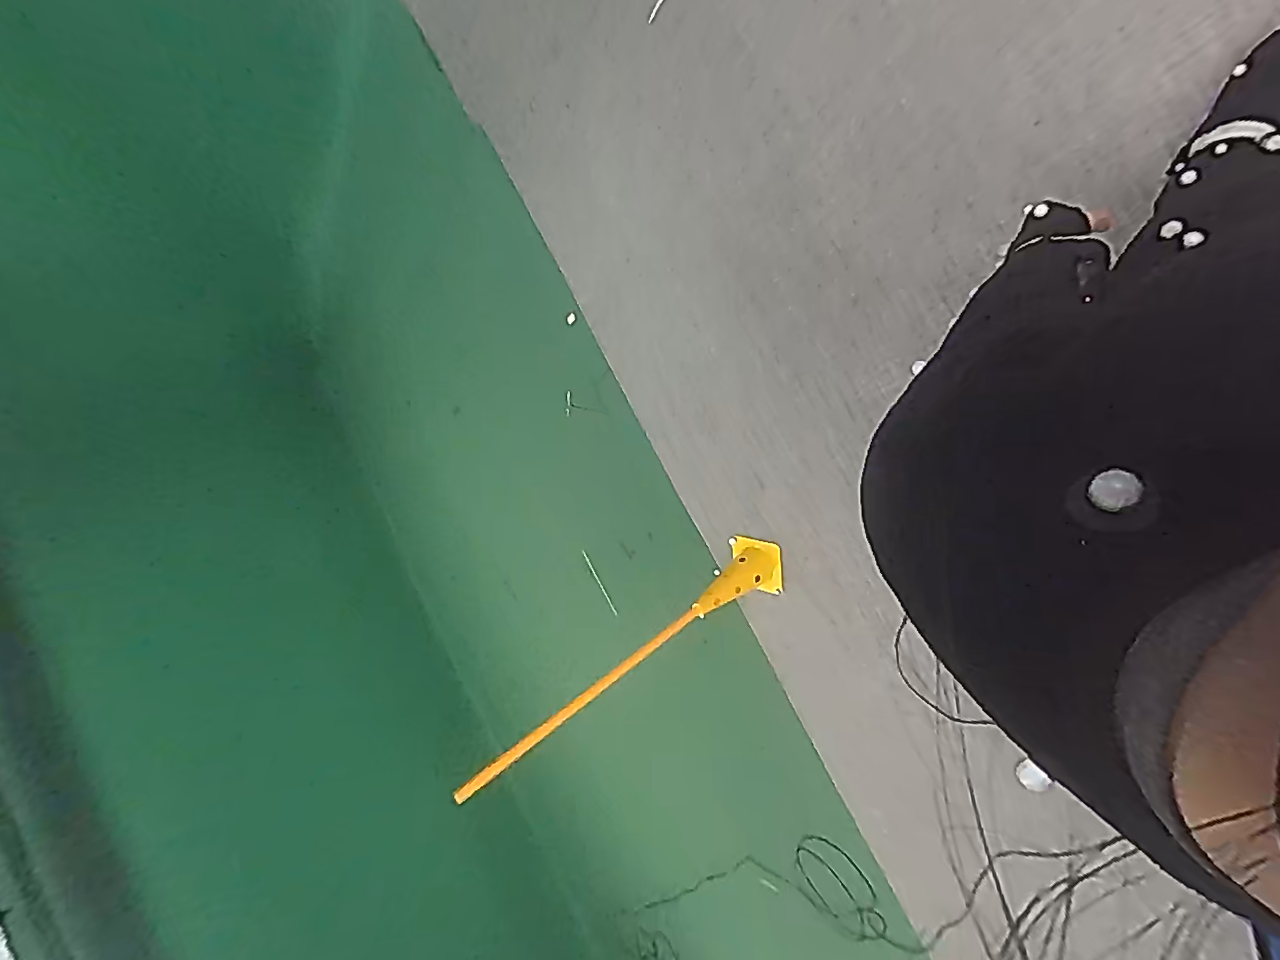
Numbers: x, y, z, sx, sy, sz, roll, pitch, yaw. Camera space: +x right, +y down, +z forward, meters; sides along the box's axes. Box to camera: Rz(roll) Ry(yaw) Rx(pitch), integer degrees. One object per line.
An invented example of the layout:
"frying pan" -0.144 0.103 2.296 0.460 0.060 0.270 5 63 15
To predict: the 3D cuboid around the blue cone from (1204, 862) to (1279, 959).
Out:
"blue cone" 1.330 1.016 1.101 0.193 0.380 0.192 24 122 33
